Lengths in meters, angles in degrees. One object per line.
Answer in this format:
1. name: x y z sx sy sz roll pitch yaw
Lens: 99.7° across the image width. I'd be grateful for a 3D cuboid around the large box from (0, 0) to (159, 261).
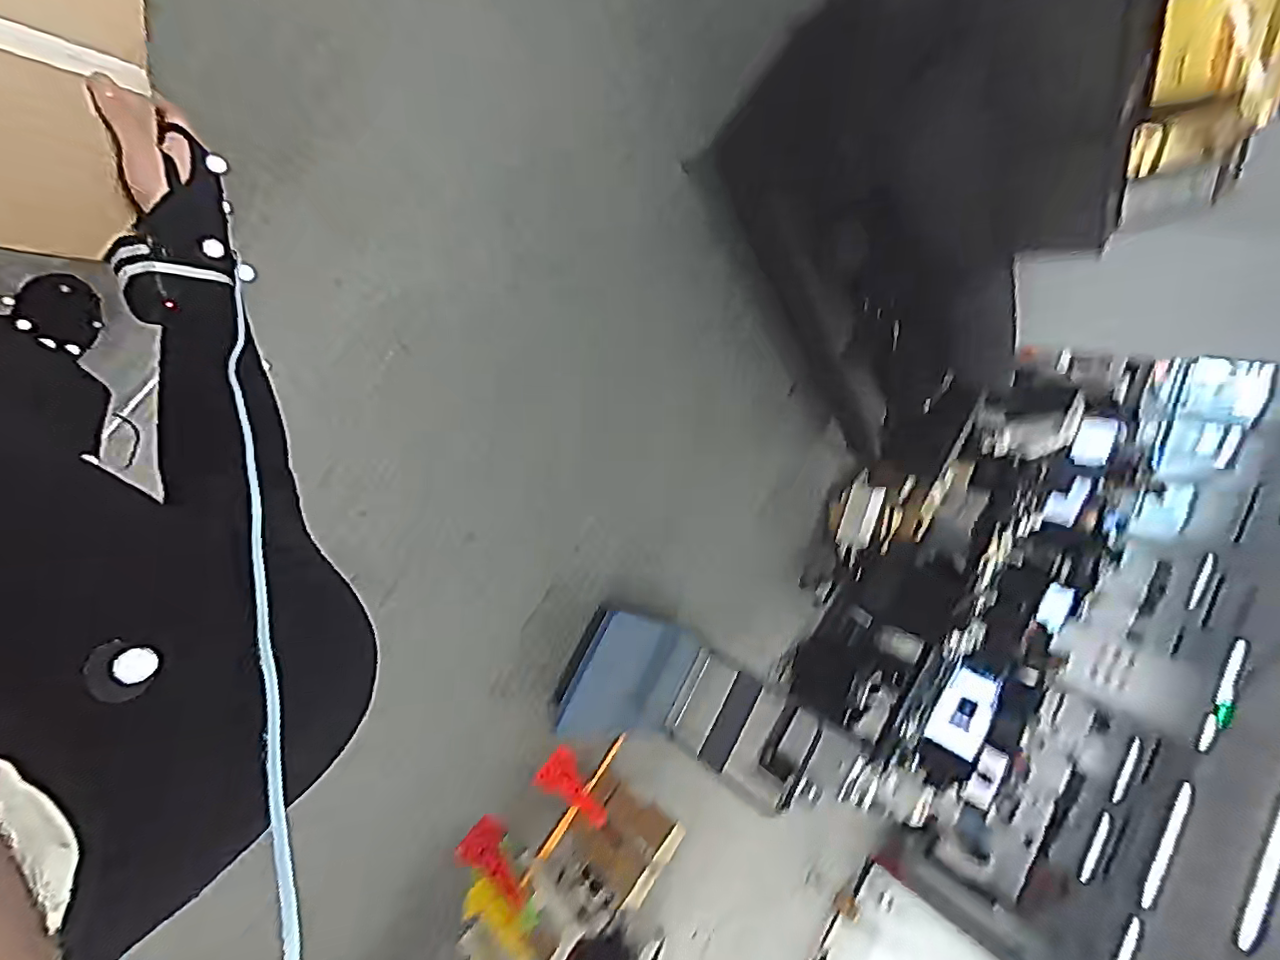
1. large box: -0.690 -0.366 0.416 0.408 0.320 0.320 -14 118 -50
